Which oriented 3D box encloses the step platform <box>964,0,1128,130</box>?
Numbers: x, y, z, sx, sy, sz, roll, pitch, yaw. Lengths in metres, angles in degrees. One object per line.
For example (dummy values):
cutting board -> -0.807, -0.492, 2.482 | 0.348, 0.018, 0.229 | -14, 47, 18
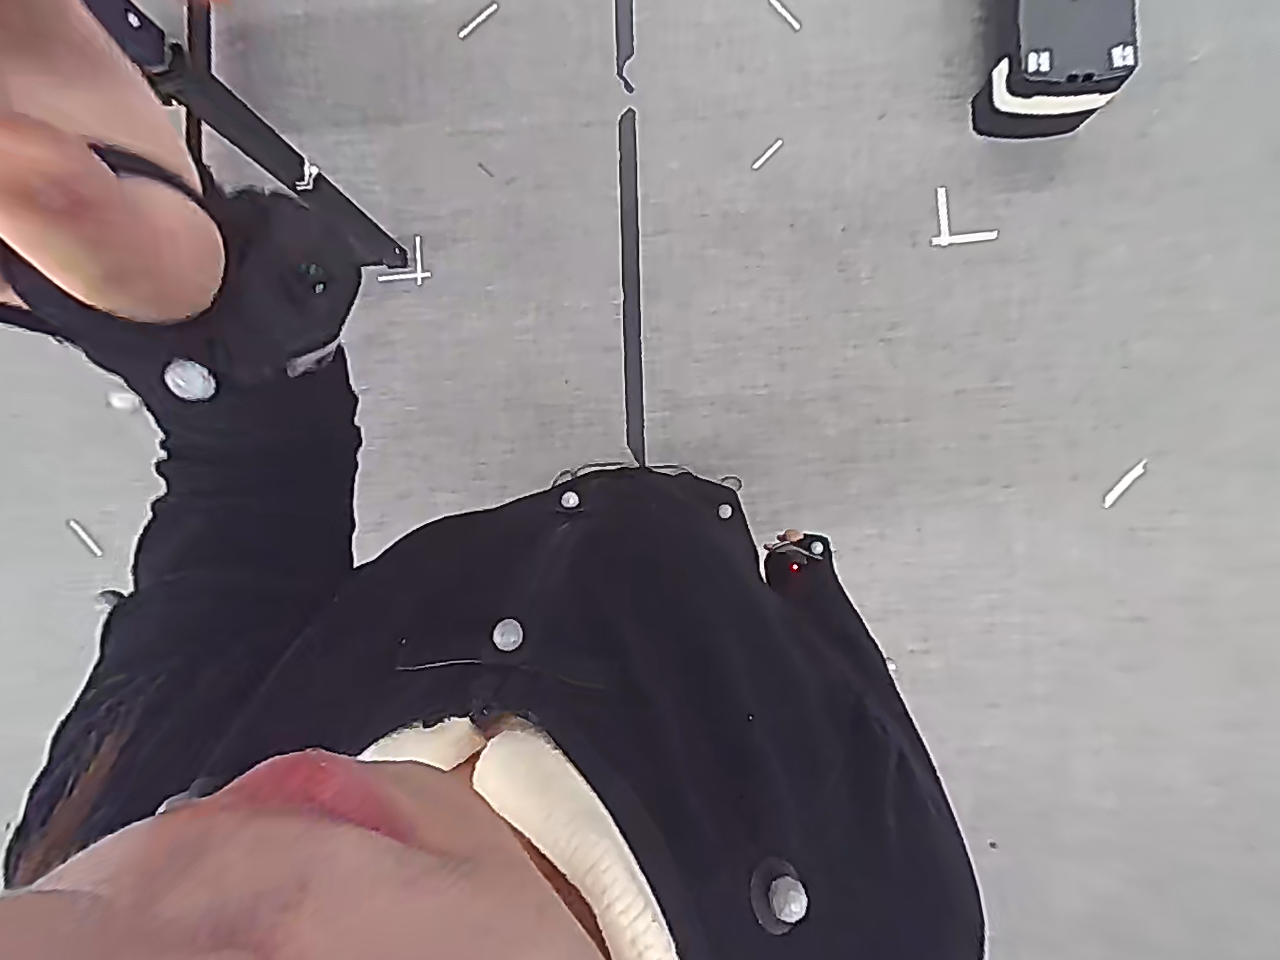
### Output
step platform -> 1.035, -1.291, 1.374 | 0.286, 0.204, 0.684 | 4, 88, 3
